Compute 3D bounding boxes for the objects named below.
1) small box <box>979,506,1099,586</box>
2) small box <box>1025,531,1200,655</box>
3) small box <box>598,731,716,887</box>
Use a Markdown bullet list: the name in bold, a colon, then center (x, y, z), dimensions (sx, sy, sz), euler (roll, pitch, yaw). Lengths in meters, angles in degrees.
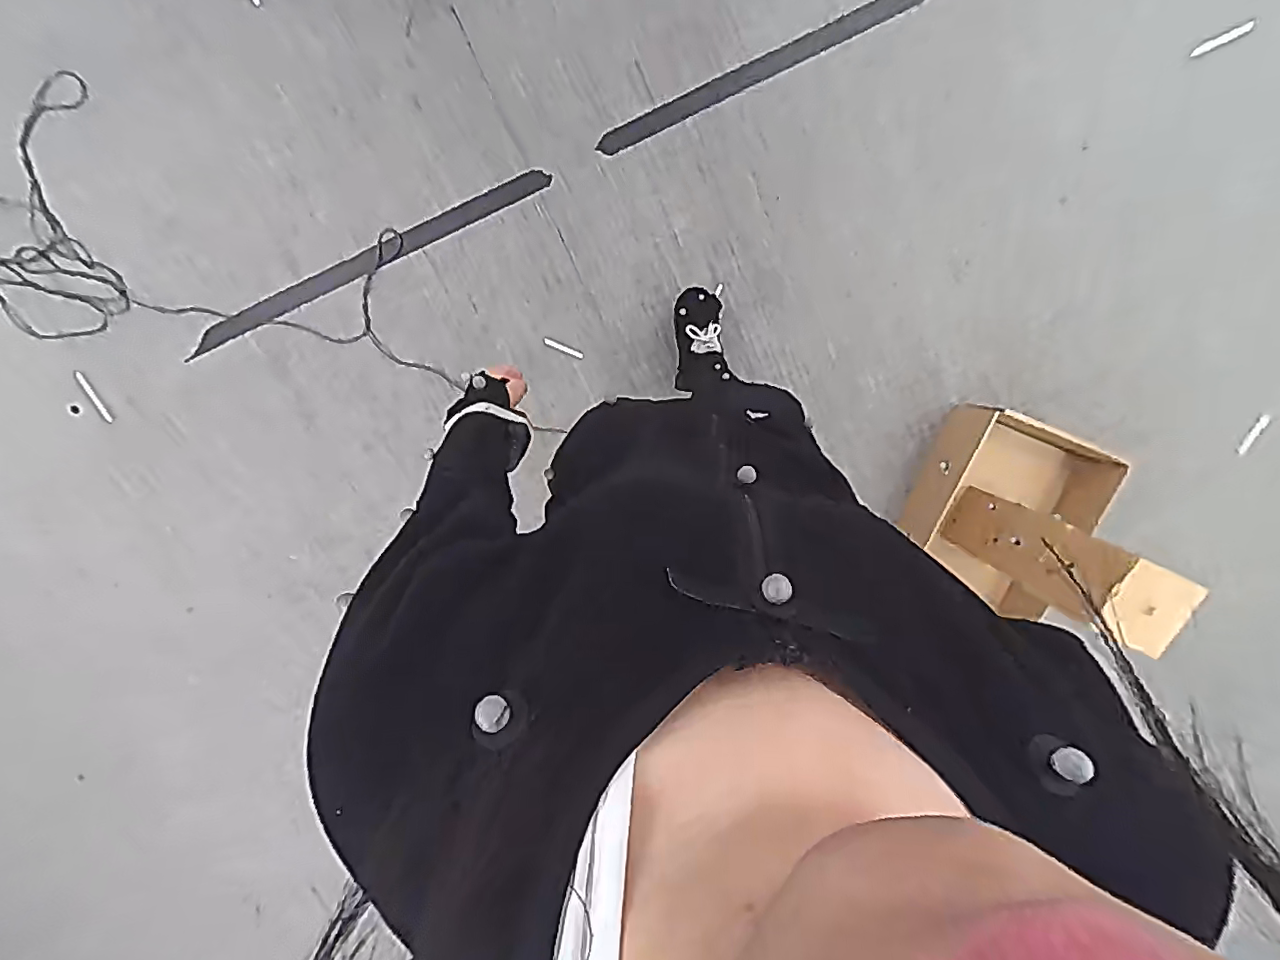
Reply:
- **small box**: center (0.959, 0.177, 1.283), dimensions (0.179, 0.176, 0.168), euler (24, 102, -8)
- **small box**: center (0.971, 0.226, 1.128), dimensions (0.179, 0.176, 0.168), euler (23, 102, -8)
- **small box**: center (0.030, 0.655, 1.091), dimensions (0.168, 0.176, 0.179), euler (28, 100, -9)
